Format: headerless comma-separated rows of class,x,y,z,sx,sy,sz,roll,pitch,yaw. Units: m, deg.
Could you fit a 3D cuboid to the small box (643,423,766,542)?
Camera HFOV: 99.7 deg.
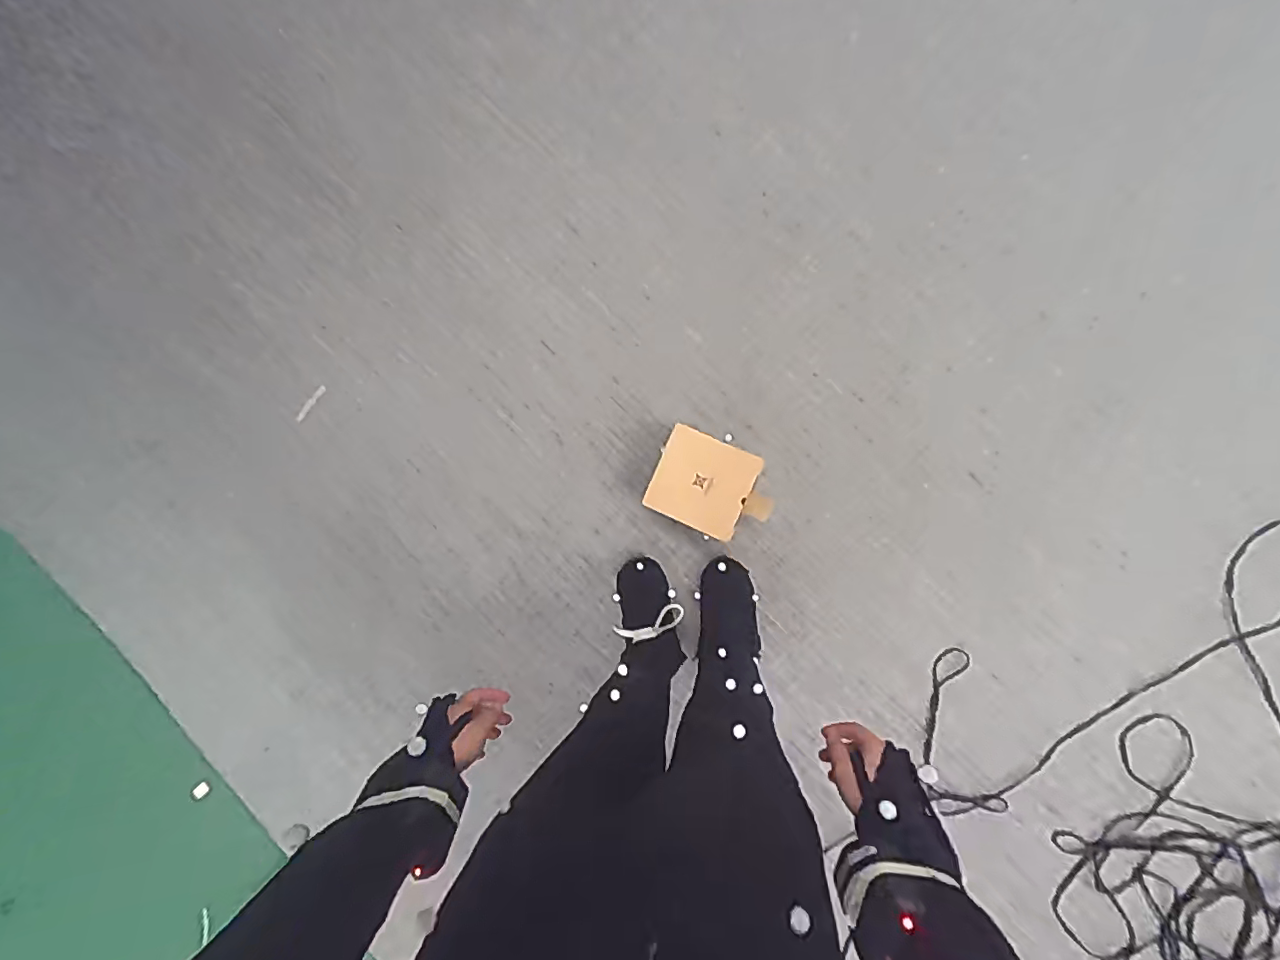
small box,0.125,0.003,1.048,0.179,0.176,0.168,24,97,7
